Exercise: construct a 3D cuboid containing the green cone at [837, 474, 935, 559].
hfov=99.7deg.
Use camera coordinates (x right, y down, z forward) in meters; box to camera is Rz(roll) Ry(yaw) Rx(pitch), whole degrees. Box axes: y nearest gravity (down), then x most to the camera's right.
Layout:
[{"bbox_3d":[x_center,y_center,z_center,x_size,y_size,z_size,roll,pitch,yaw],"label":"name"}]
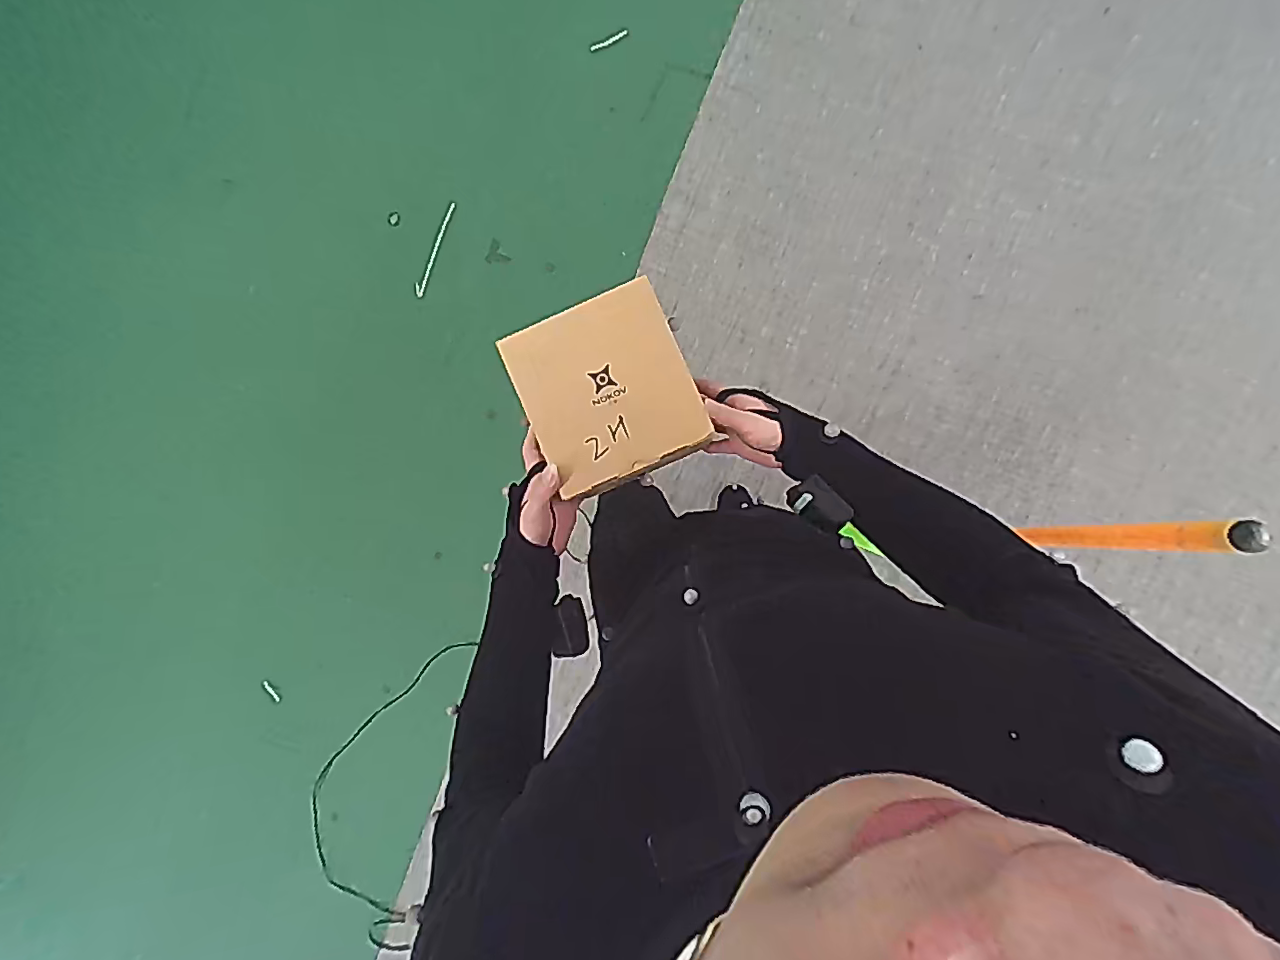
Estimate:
[{"bbox_3d":[0.663,0.113,1.379,0.200,0.368,0.202,24,96,8],"label":"green cone"}]
